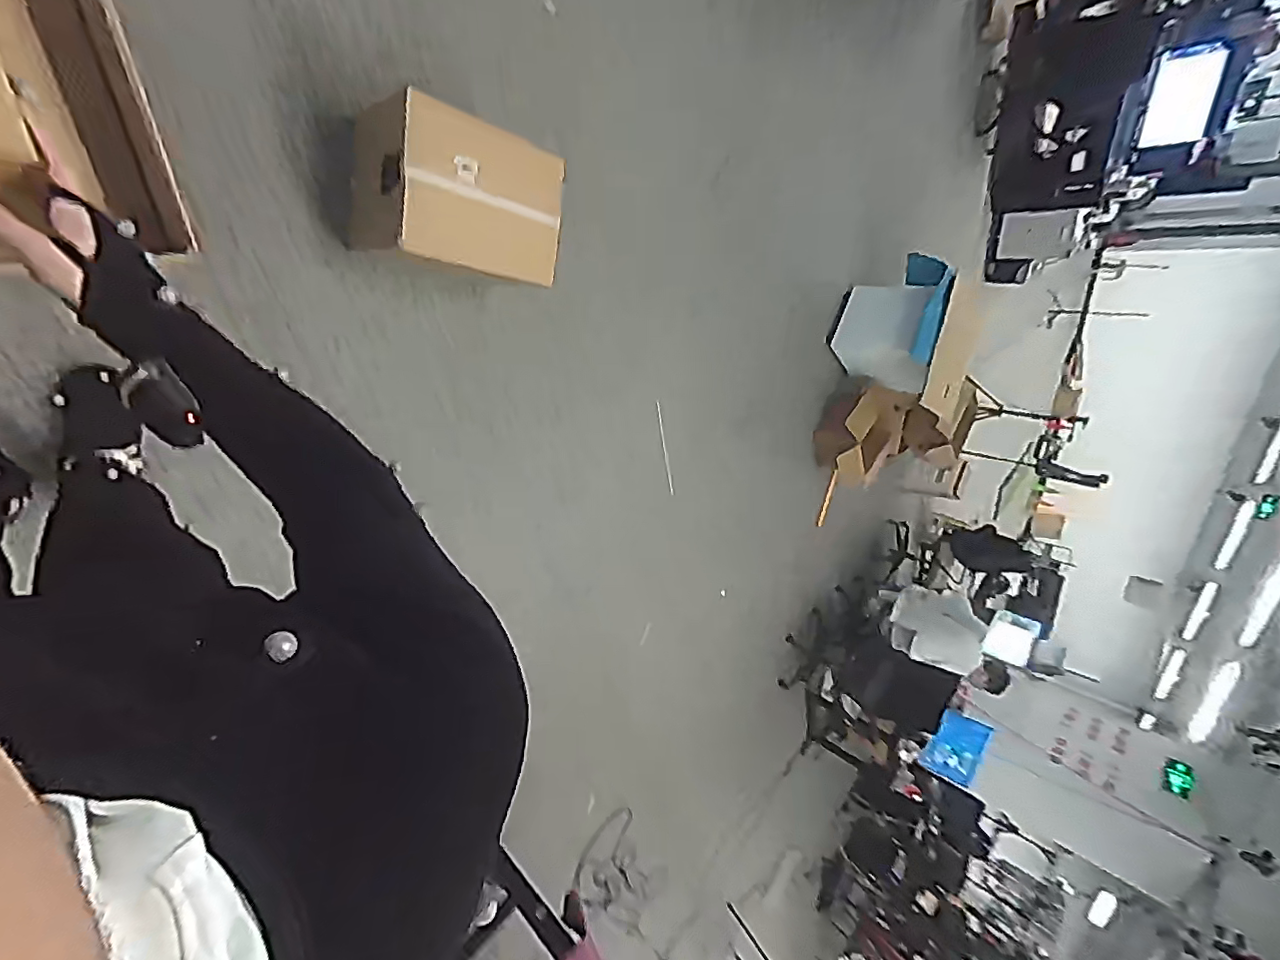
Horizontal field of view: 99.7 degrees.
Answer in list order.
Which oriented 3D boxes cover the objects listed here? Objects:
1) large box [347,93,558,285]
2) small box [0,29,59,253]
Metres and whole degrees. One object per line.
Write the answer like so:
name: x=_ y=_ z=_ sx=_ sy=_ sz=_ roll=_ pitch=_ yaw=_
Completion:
large box: x=-0.467 y=-0.686 z=1.356 sx=0.408 sy=0.320 sz=0.320 roll=-5 pitch=107 yaw=-46
small box: x=-0.602 y=-0.302 z=0.421 sx=0.168 sy=0.176 sz=0.179 roll=-22 pitch=98 yaw=-44
